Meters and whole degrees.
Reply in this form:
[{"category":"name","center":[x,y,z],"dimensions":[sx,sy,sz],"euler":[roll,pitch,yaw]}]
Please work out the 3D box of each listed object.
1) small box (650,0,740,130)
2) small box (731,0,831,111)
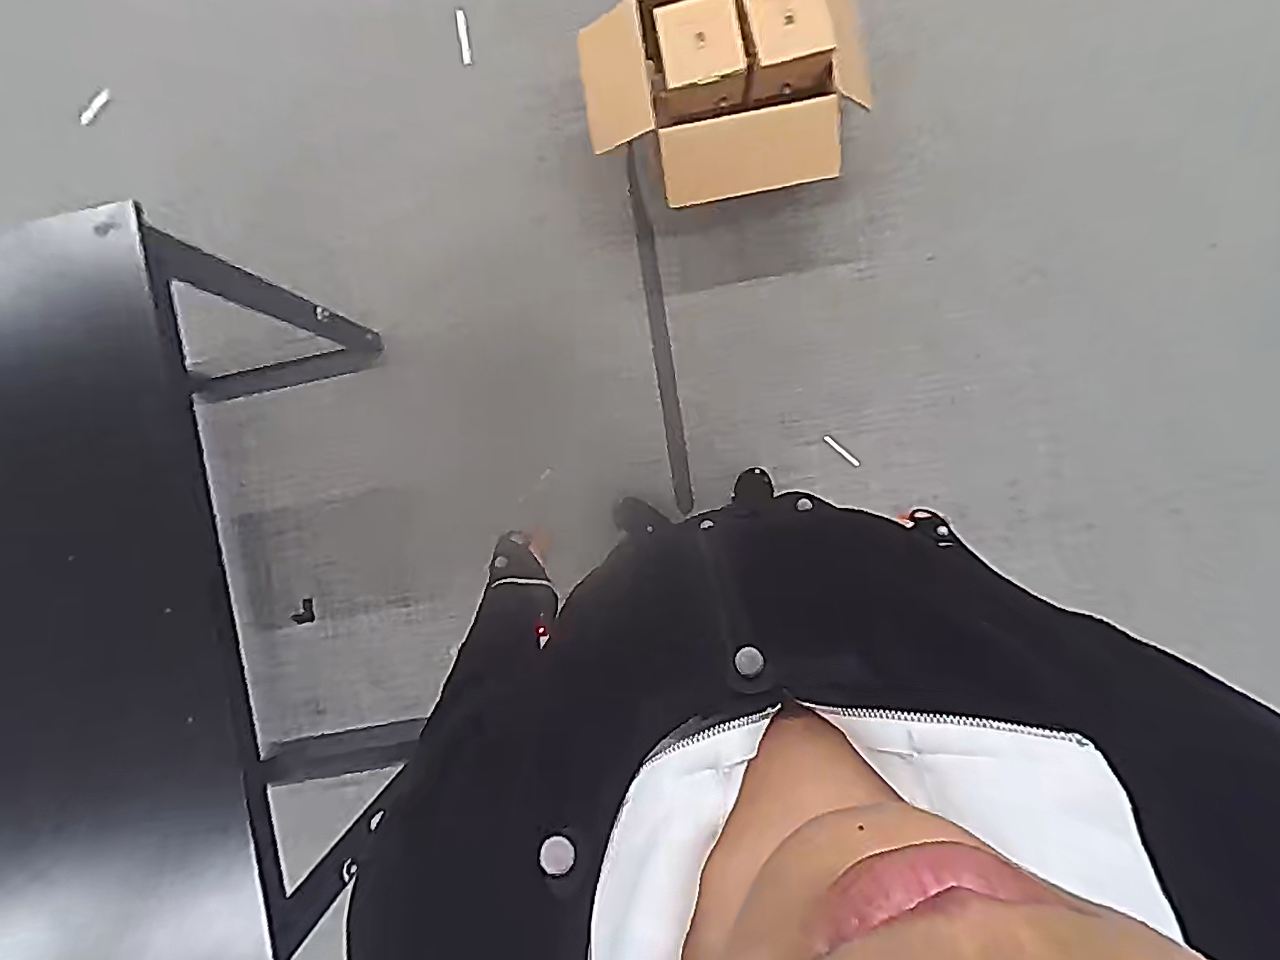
[{"category":"small box","center":[0.124,-0.927,1.218],"dimensions":[0.168,0.176,0.179],"euler":[-12,89,5]},{"category":"small box","center":[0.299,-0.967,1.210],"dimensions":[0.168,0.176,0.179],"euler":[-16,91,-2]}]
